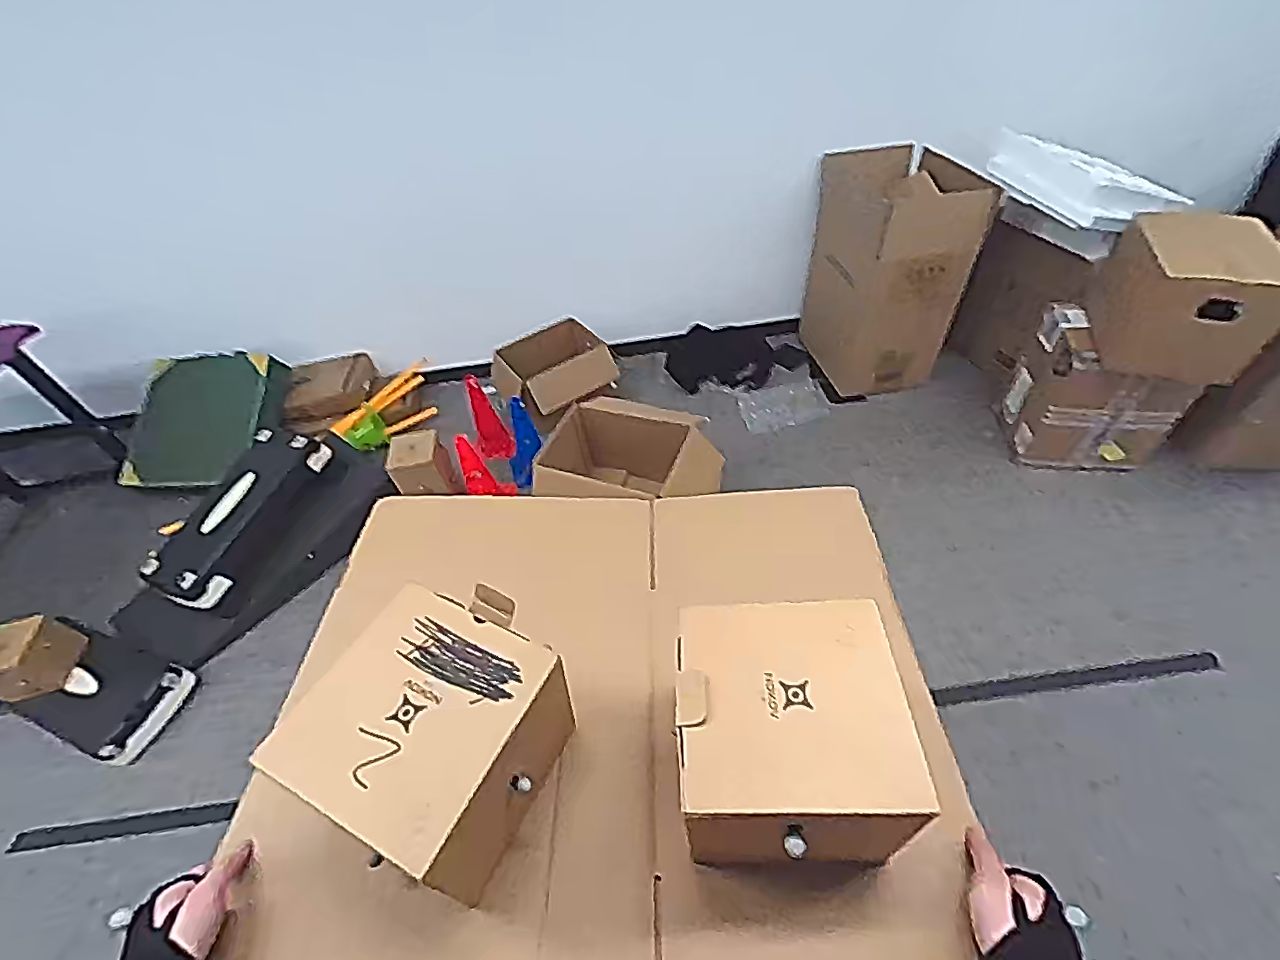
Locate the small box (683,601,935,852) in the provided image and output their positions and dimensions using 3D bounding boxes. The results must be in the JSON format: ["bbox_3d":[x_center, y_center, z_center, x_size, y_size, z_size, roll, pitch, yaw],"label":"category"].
[{"bbox_3d":[0.133,0.228,0.497,0.179,0.176,0.168,-5,46,6],"label":"small box"}]
